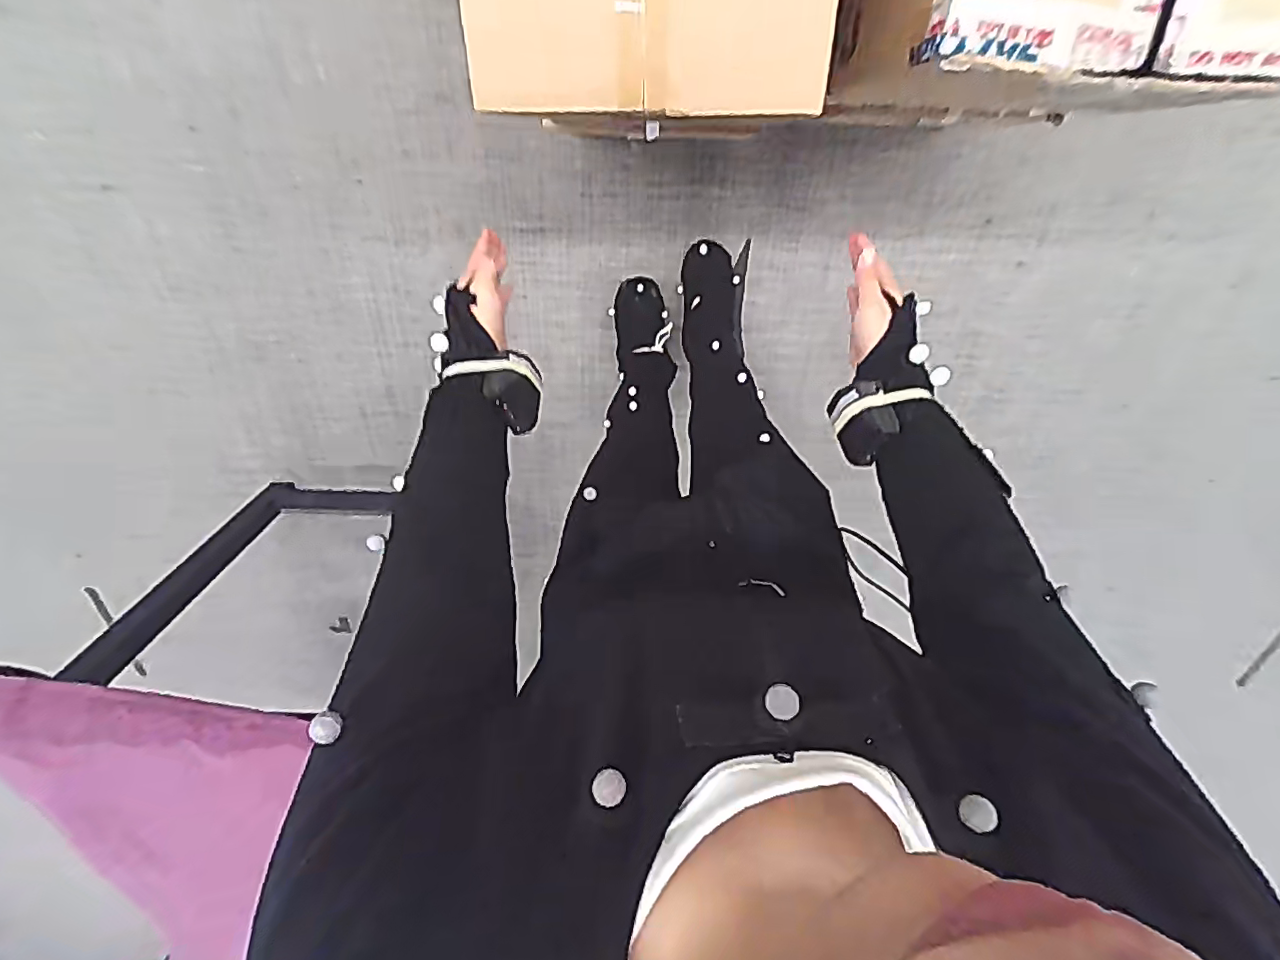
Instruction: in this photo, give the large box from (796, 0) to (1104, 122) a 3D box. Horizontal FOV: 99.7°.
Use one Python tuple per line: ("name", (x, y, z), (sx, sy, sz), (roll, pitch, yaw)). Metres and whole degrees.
("large box", (0.436, -0.757, 0.770), (0.320, 0.320, 0.408), (0, 122, 0))
